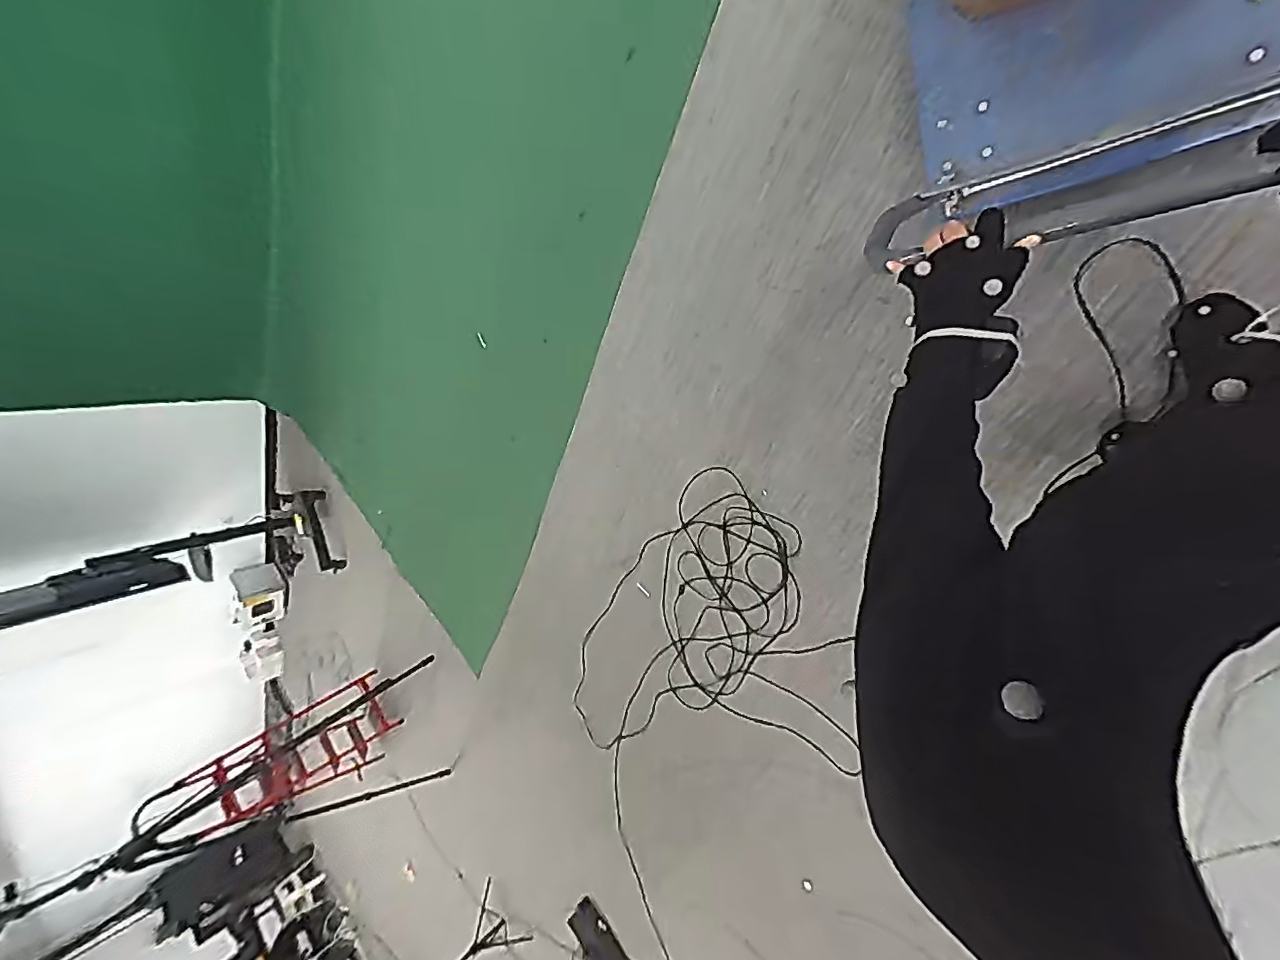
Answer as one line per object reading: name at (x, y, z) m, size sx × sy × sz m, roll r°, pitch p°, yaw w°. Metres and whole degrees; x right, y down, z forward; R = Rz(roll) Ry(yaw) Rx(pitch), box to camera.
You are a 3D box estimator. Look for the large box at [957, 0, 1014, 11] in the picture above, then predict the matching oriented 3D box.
large box at (0.659, -0.901, 0.719) m, size 0.408 × 0.320 × 0.320 m, roll 12°, pitch 122°, yaw 36°
